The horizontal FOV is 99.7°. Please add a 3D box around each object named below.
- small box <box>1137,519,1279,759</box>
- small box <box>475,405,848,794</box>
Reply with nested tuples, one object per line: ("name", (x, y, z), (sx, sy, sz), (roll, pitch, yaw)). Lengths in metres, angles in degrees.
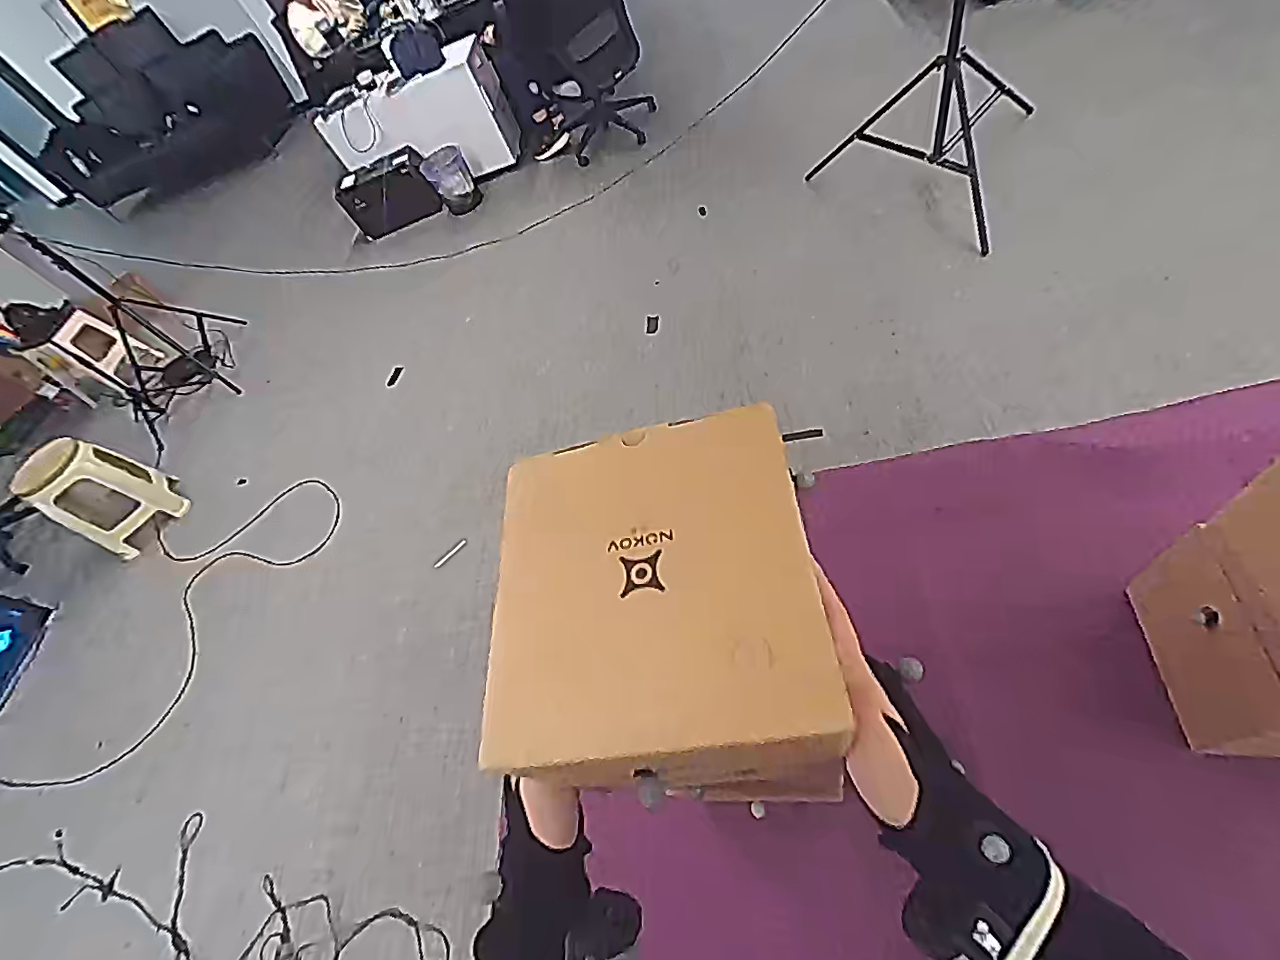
("small box", (0.610, 0.149, 0.492), (0.168, 0.176, 0.179), (-6, 57, 18))
("small box", (0.023, 0.087, 0.332), (0.168, 0.176, 0.179), (-12, 55, 12))
